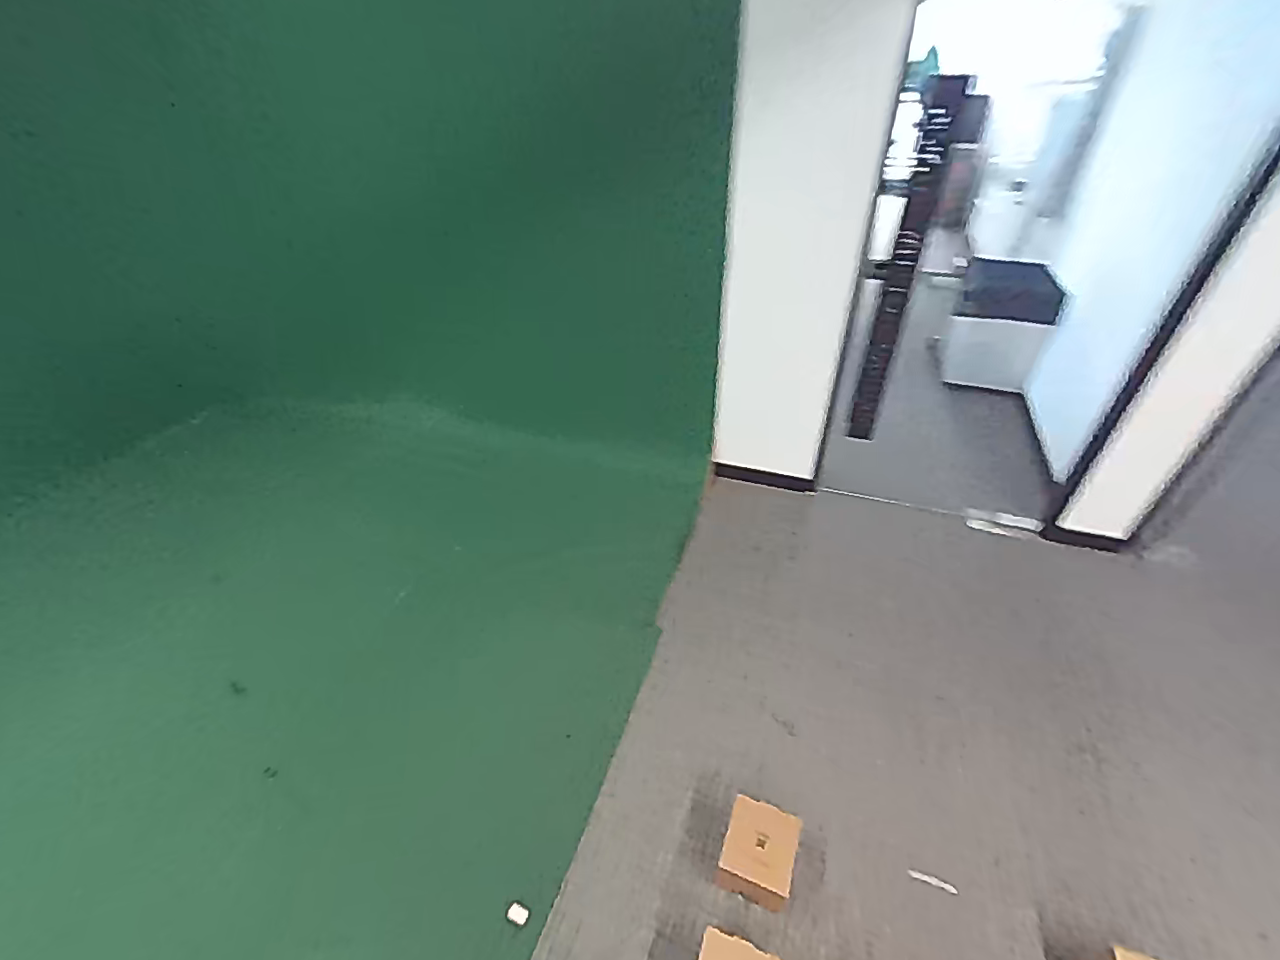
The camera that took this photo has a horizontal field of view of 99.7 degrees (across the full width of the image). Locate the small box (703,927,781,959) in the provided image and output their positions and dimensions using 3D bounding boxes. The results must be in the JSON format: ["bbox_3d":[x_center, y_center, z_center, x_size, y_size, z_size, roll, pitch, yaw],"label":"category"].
[{"bbox_3d":[0.198,1.094,1.127,0.168,0.176,0.179,12,40,18],"label":"small box"}]
